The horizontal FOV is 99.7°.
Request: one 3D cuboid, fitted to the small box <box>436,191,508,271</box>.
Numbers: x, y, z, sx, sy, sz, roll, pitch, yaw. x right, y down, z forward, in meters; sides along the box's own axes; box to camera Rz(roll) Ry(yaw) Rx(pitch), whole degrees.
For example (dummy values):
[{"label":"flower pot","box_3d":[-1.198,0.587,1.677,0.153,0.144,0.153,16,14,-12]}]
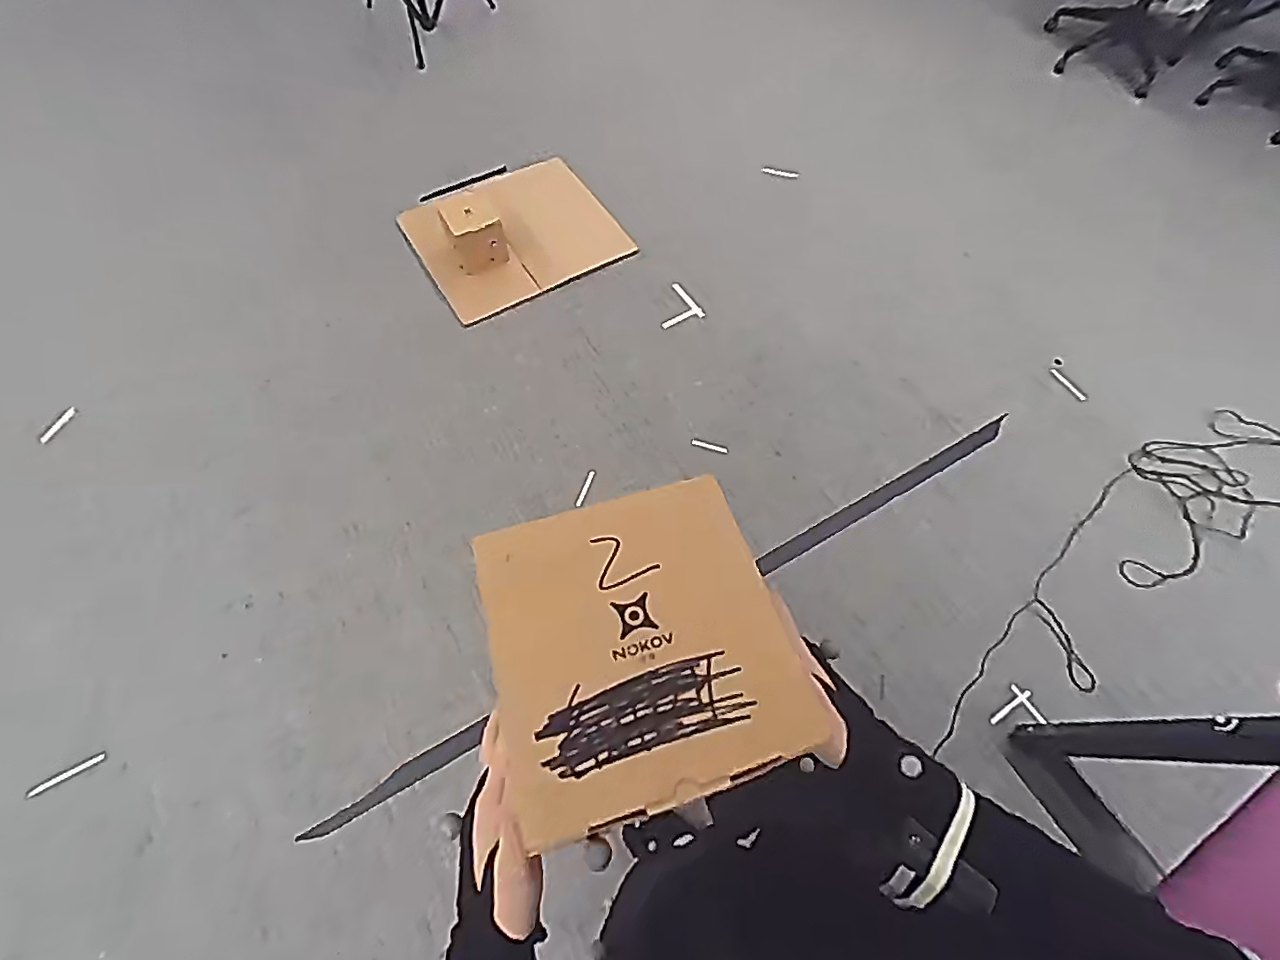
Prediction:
[{"label":"small box","box_3d":[-0.574,-0.853,1.872,0.168,0.176,0.179,-28,68,-16]}]
